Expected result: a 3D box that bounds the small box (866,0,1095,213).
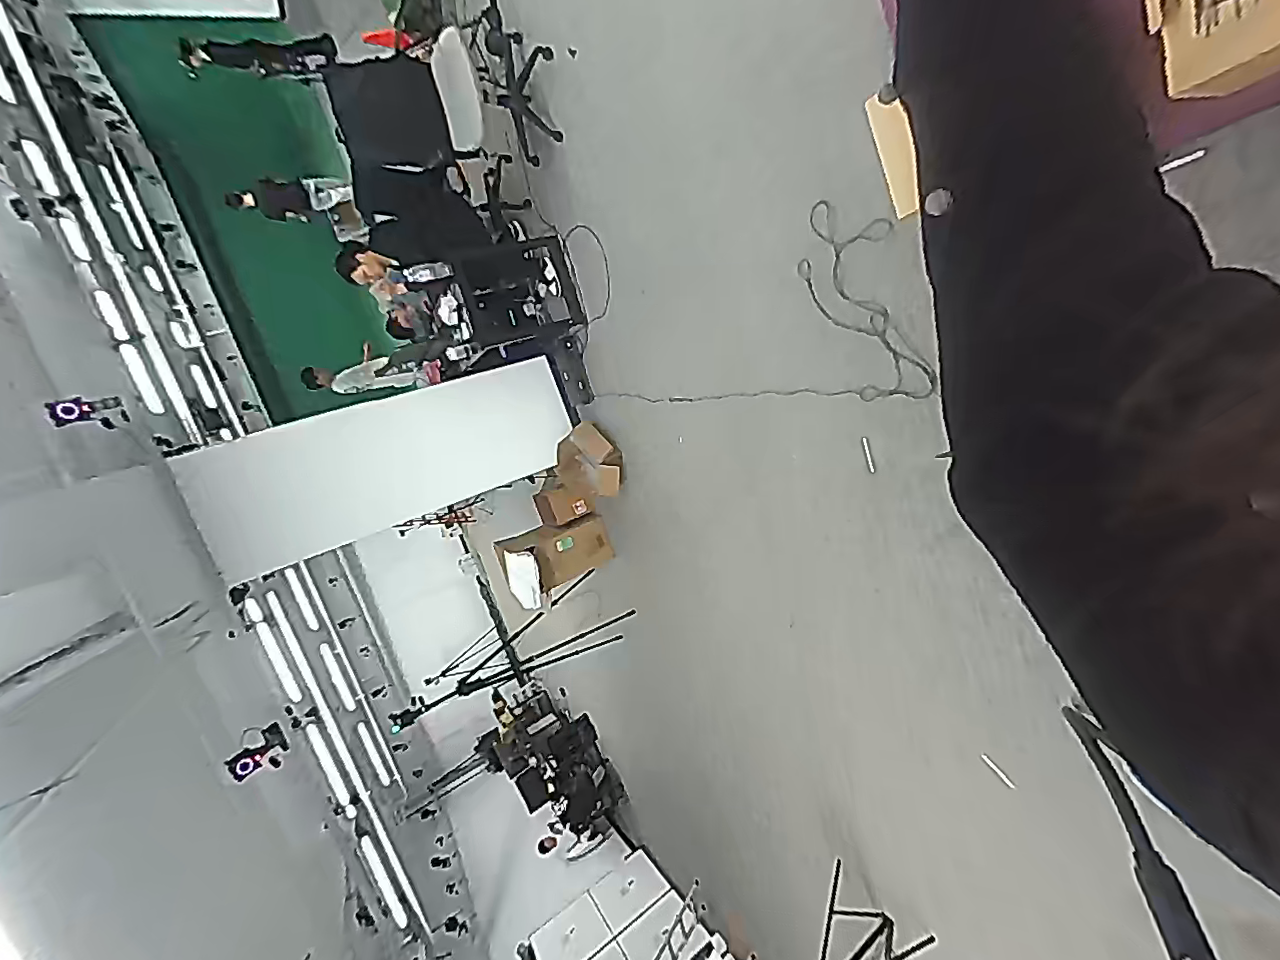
[{"bbox_3d":[0.437,-0.475,0.702,0.179,0.176,0.168,-8,103,62],"label":"small box"}]
